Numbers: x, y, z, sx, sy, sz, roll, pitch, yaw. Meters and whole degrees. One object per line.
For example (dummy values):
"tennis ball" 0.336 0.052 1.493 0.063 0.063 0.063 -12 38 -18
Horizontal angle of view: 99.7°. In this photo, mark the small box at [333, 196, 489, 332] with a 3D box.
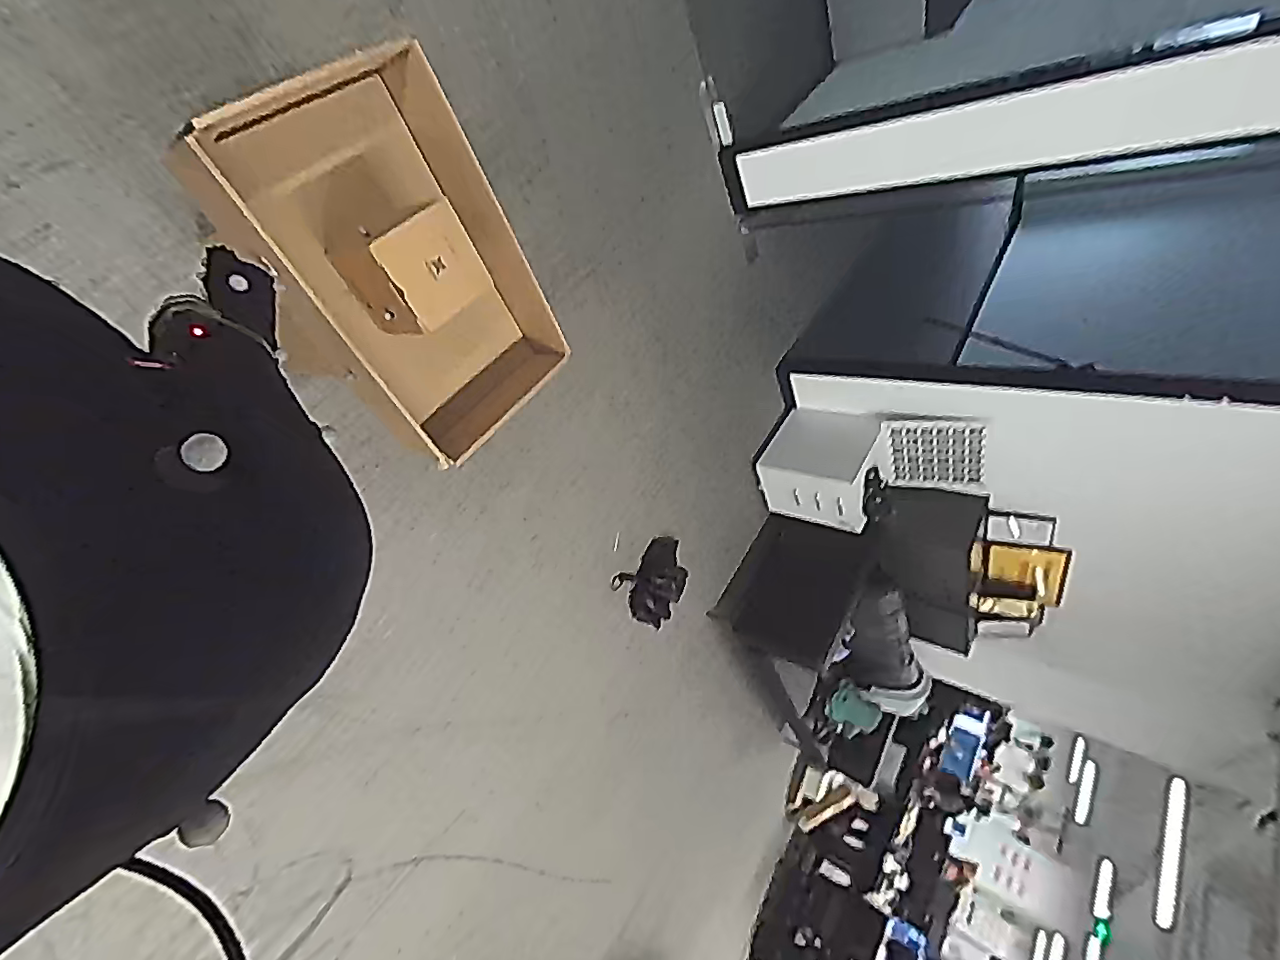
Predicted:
"small box" -0.419 -0.386 0.983 0.179 0.176 0.168 -55 139 -29
